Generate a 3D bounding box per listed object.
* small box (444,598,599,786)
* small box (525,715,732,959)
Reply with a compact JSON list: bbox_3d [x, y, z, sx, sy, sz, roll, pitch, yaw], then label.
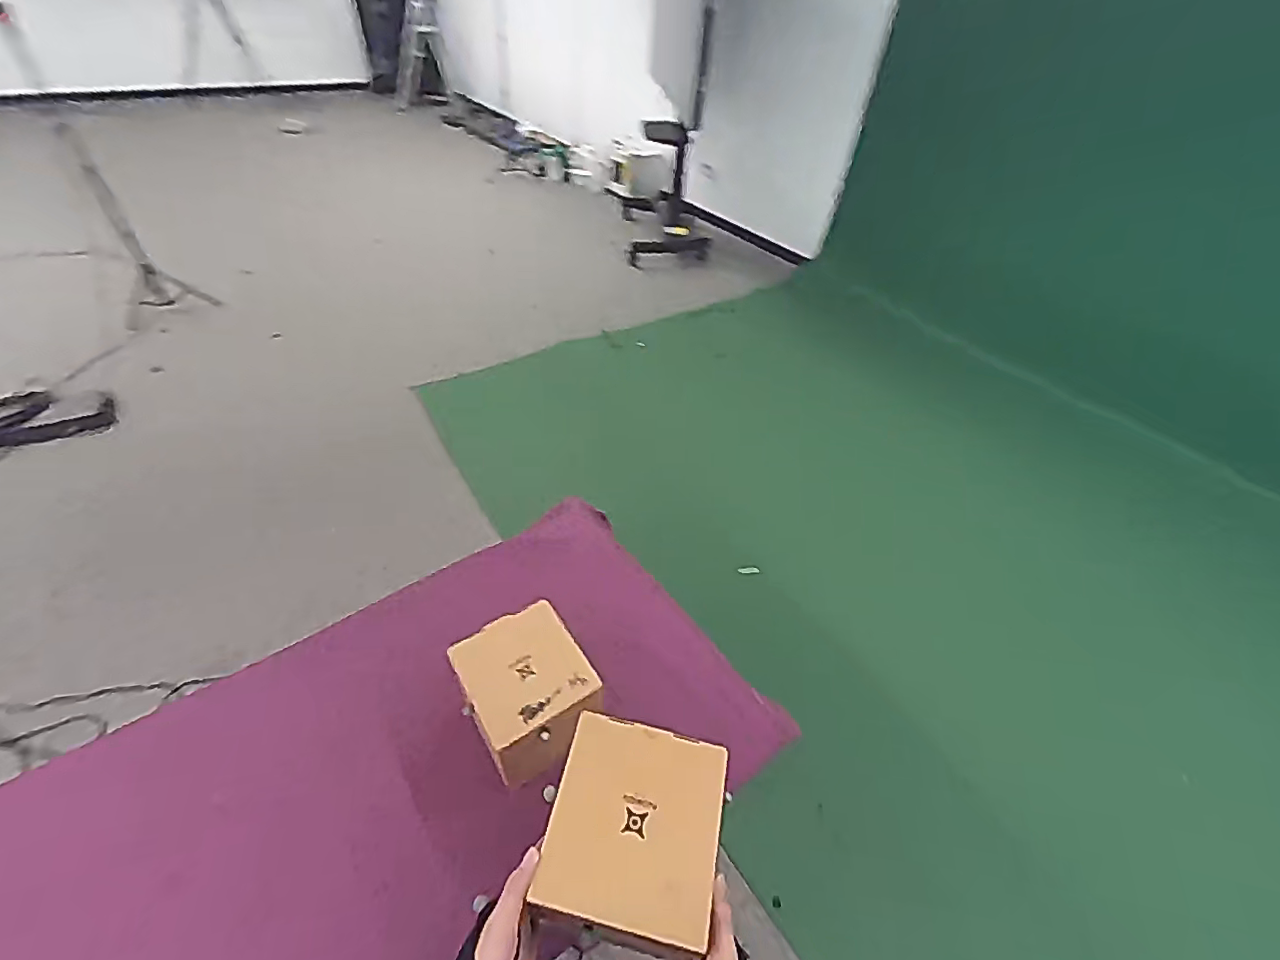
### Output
[{"bbox_3d":[-0.178,0.322,0.826,0.168,0.176,0.179,-24,51,-27],"label":"small box"},{"bbox_3d":[-0.008,0.387,0.574,0.168,0.176,0.179,13,45,6],"label":"small box"}]
